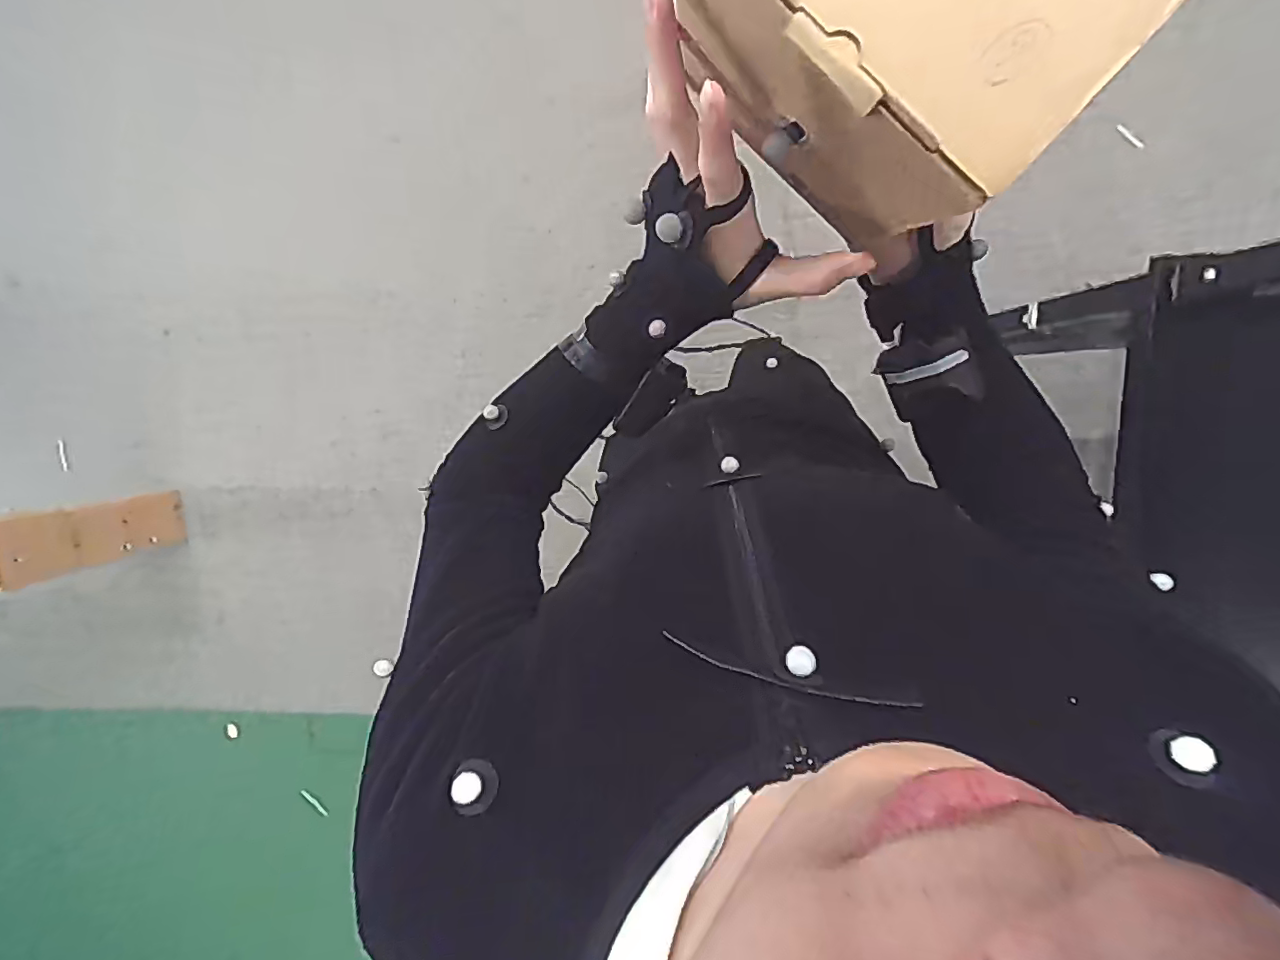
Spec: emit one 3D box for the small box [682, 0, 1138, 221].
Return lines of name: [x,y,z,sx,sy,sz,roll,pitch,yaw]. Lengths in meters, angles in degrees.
small box: [0.132,-0.256,0.260,0.168,0.176,0.179,38,107,-8]

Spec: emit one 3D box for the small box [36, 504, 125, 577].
small box: [-1.559,0.161,1.471,0.179,0.176,0.168,-3,97,4]

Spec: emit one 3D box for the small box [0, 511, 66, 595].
small box: [-1.557,0.178,1.307,0.168,0.176,0.179,-2,97,3]
